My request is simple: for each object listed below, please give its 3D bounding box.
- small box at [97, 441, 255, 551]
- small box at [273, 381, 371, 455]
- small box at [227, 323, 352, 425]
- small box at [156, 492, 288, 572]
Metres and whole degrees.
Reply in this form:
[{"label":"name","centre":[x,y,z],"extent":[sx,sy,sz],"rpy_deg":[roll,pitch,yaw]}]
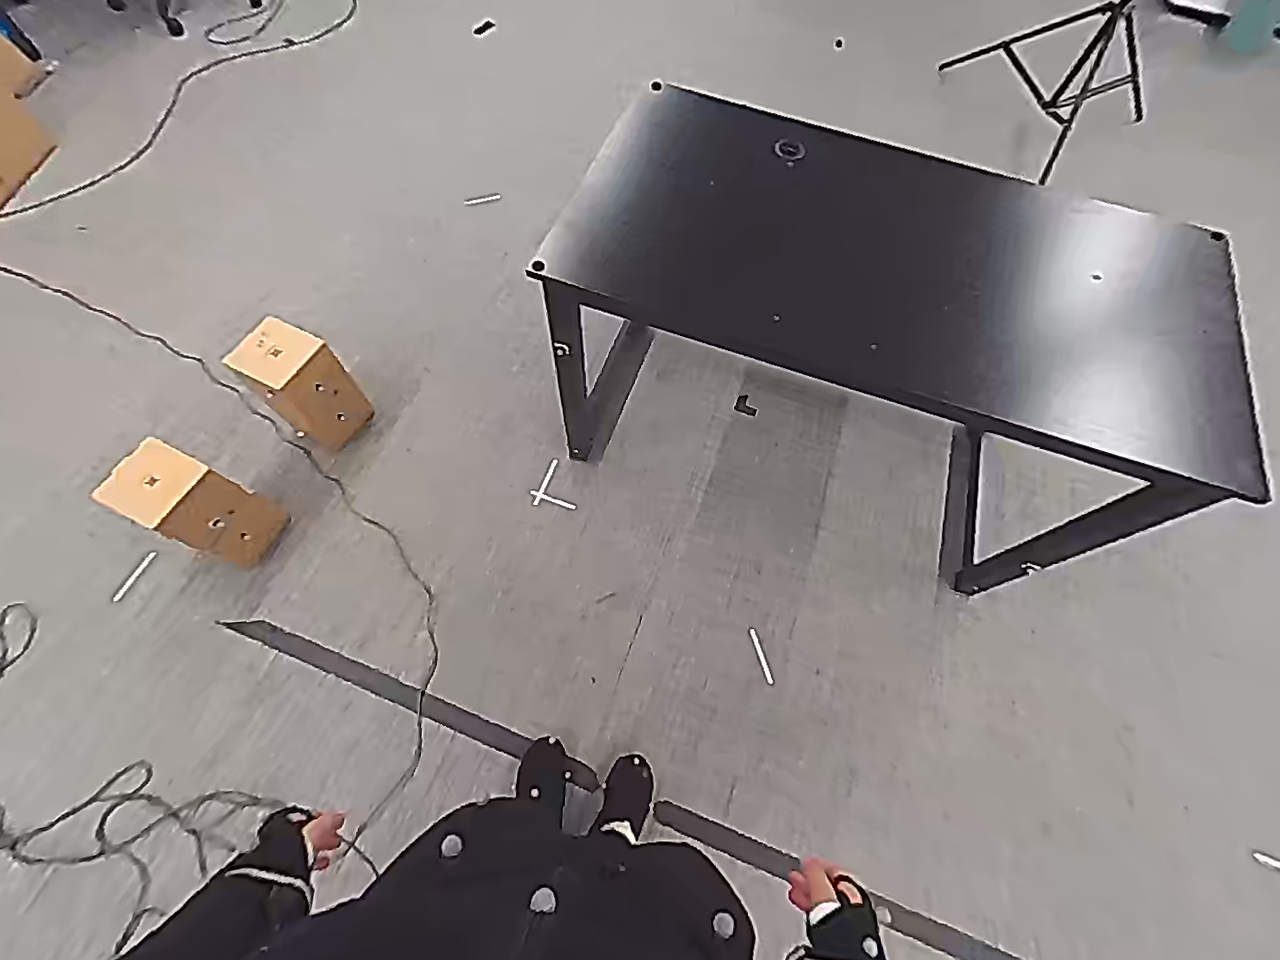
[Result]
[{"label":"small box","centre":[-1.054,0.044,1.246],"extent":[0.179,0.176,0.168],"rpy_deg":[25,67,7]},{"label":"small box","centre":[-0.904,-0.203,1.546],"extent":[0.168,0.176,0.179],"rpy_deg":[27,67,10]},{"label":"small box","centre":[-0.889,-0.265,1.394],"extent":[0.179,0.176,0.168],"rpy_deg":[25,65,9]},{"label":"small box","centre":[-1.060,0.117,1.392],"extent":[0.168,0.176,0.179],"rpy_deg":[20,67,6]}]
